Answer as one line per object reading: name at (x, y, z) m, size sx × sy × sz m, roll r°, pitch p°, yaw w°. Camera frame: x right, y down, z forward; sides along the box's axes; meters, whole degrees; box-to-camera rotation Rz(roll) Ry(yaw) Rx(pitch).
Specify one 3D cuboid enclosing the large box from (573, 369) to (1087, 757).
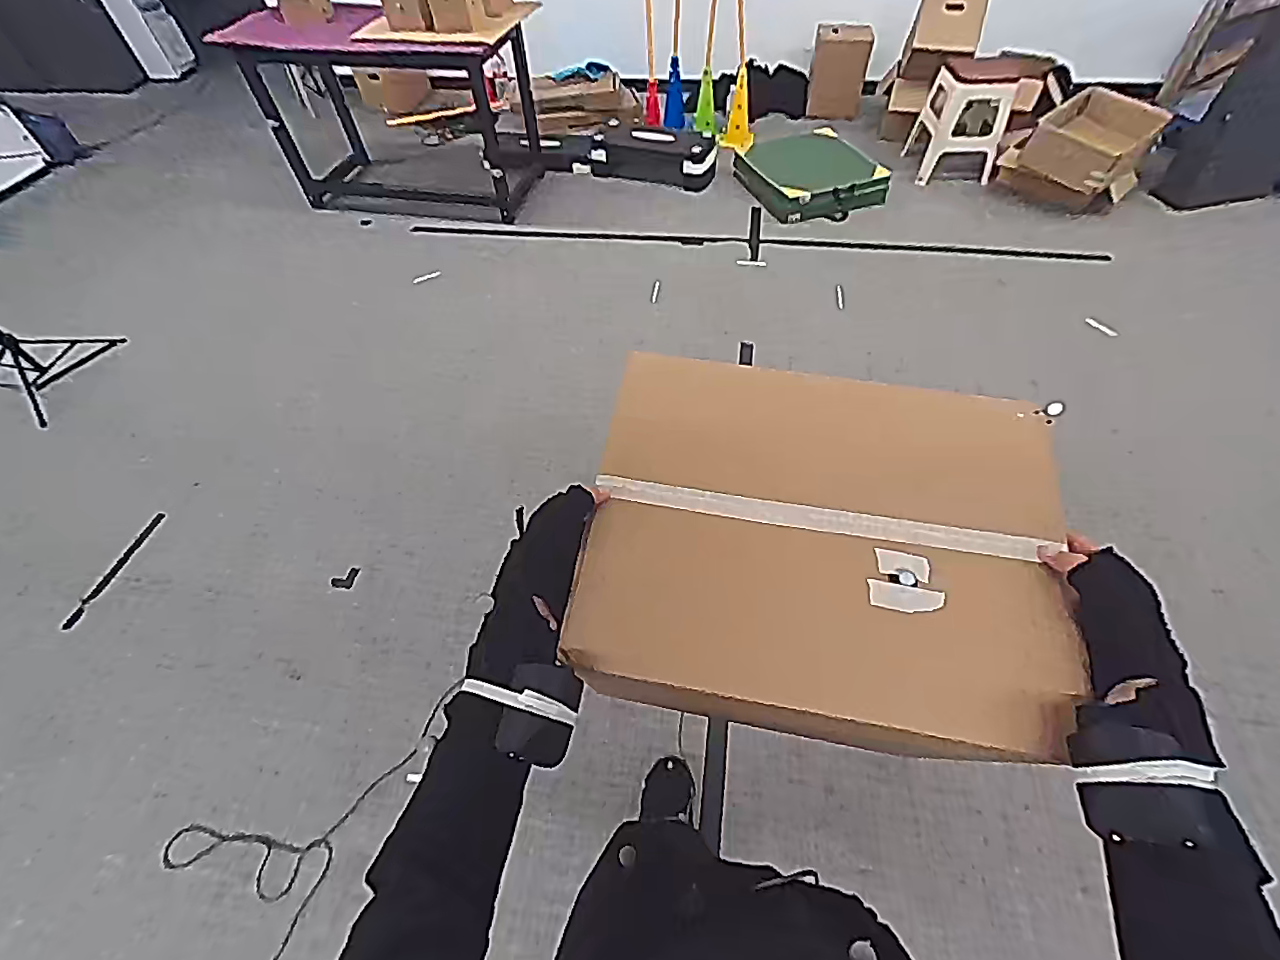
large box at (0.164, 0.109, 0.615) m, size 0.408 × 0.320 × 0.320 m, roll 9°, pitch 66°, yaw 5°
